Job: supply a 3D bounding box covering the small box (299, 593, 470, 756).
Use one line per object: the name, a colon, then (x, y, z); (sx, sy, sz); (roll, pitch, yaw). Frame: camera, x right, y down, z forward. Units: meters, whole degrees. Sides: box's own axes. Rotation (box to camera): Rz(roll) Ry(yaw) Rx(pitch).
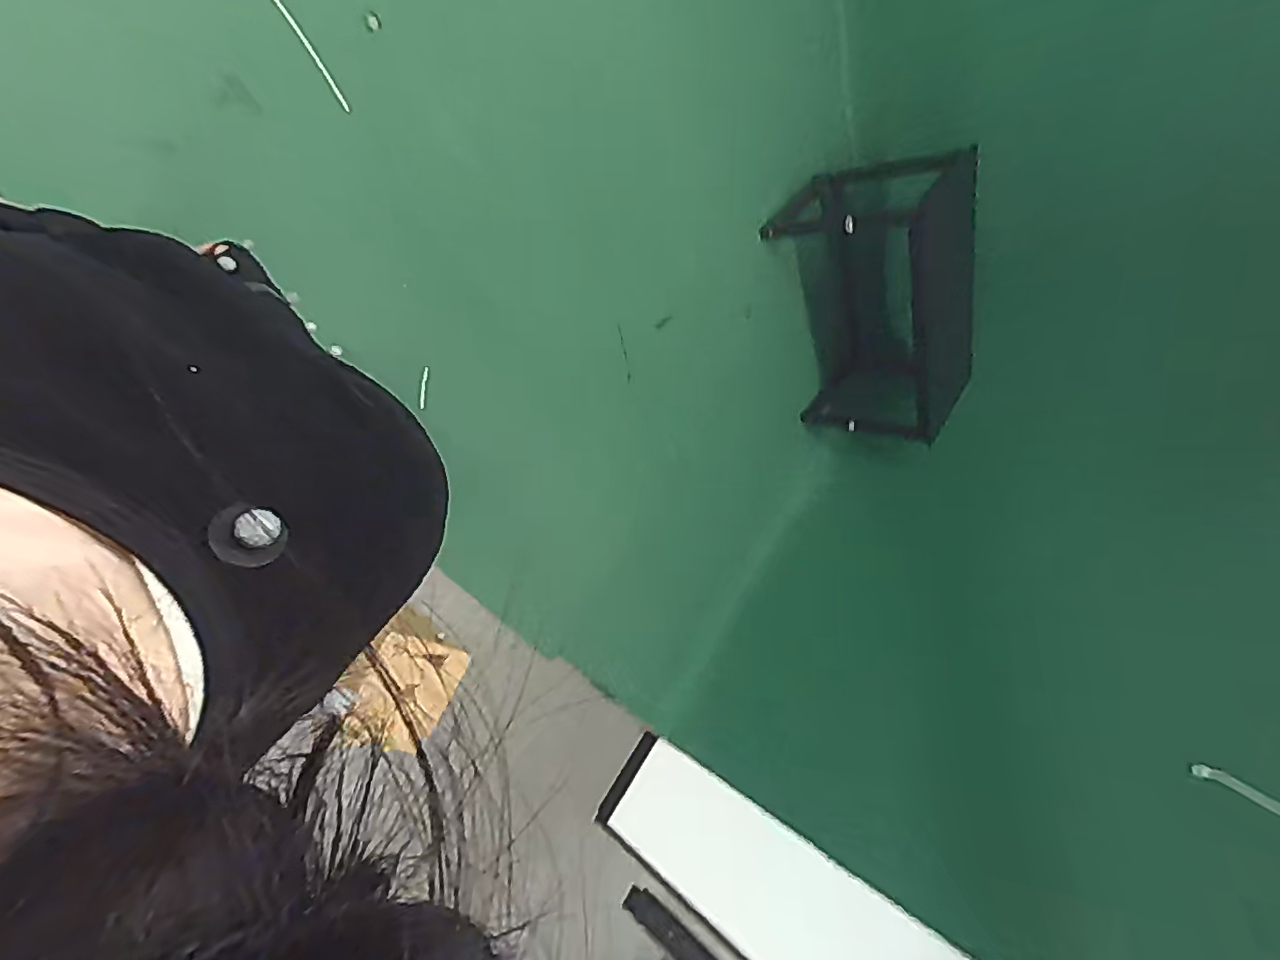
small box: (-0.421, 0.314, 0.881); (0.168, 0.176, 0.179); (42, 73, -46)
